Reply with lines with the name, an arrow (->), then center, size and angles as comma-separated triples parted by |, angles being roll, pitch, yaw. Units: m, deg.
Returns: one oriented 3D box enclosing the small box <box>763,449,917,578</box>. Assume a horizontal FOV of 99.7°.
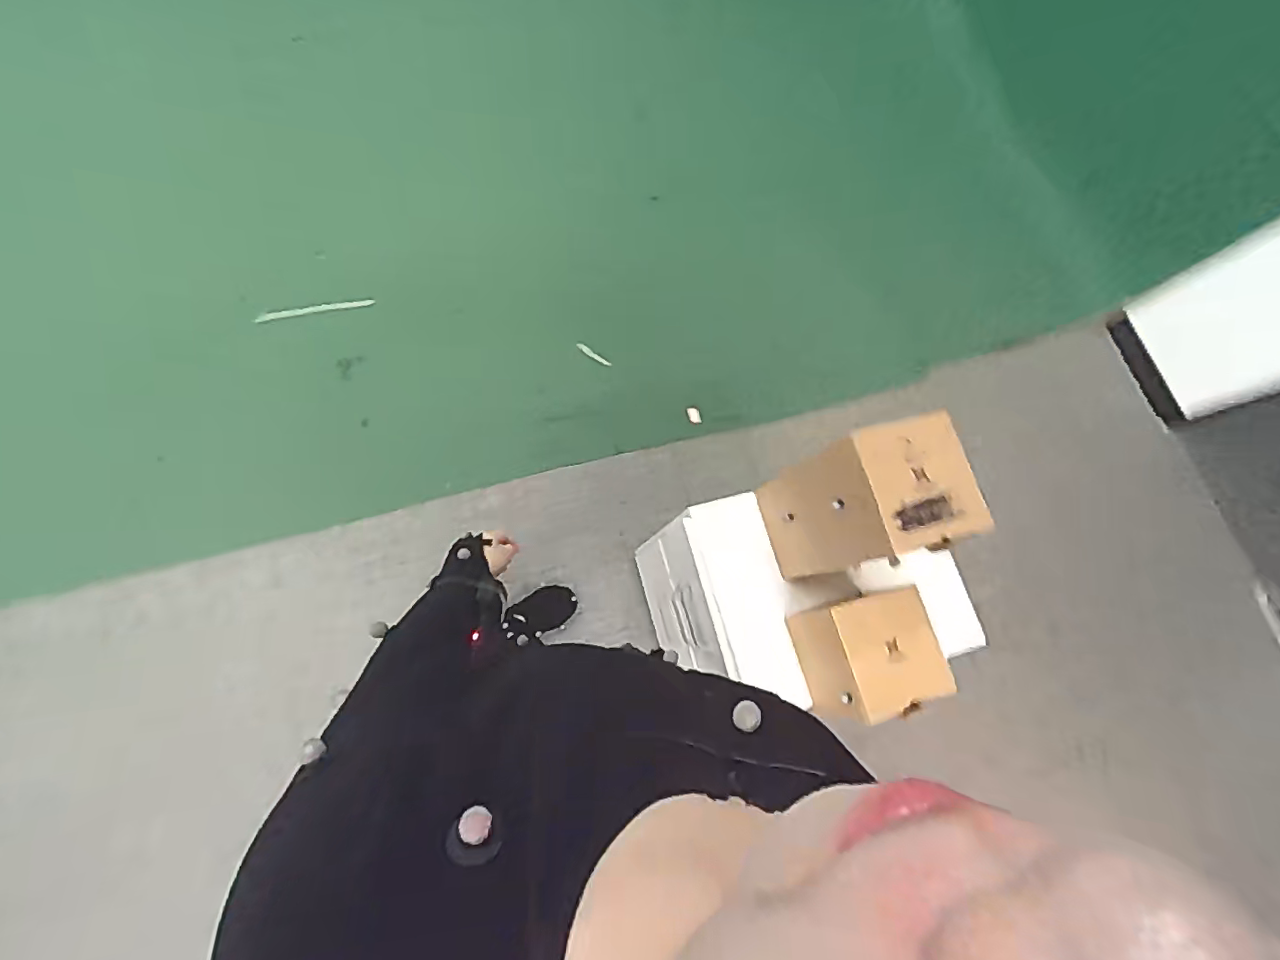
small box -> 0.340, 0.065, 0.958 | 0.168, 0.176, 0.179 | -13, 78, -14
